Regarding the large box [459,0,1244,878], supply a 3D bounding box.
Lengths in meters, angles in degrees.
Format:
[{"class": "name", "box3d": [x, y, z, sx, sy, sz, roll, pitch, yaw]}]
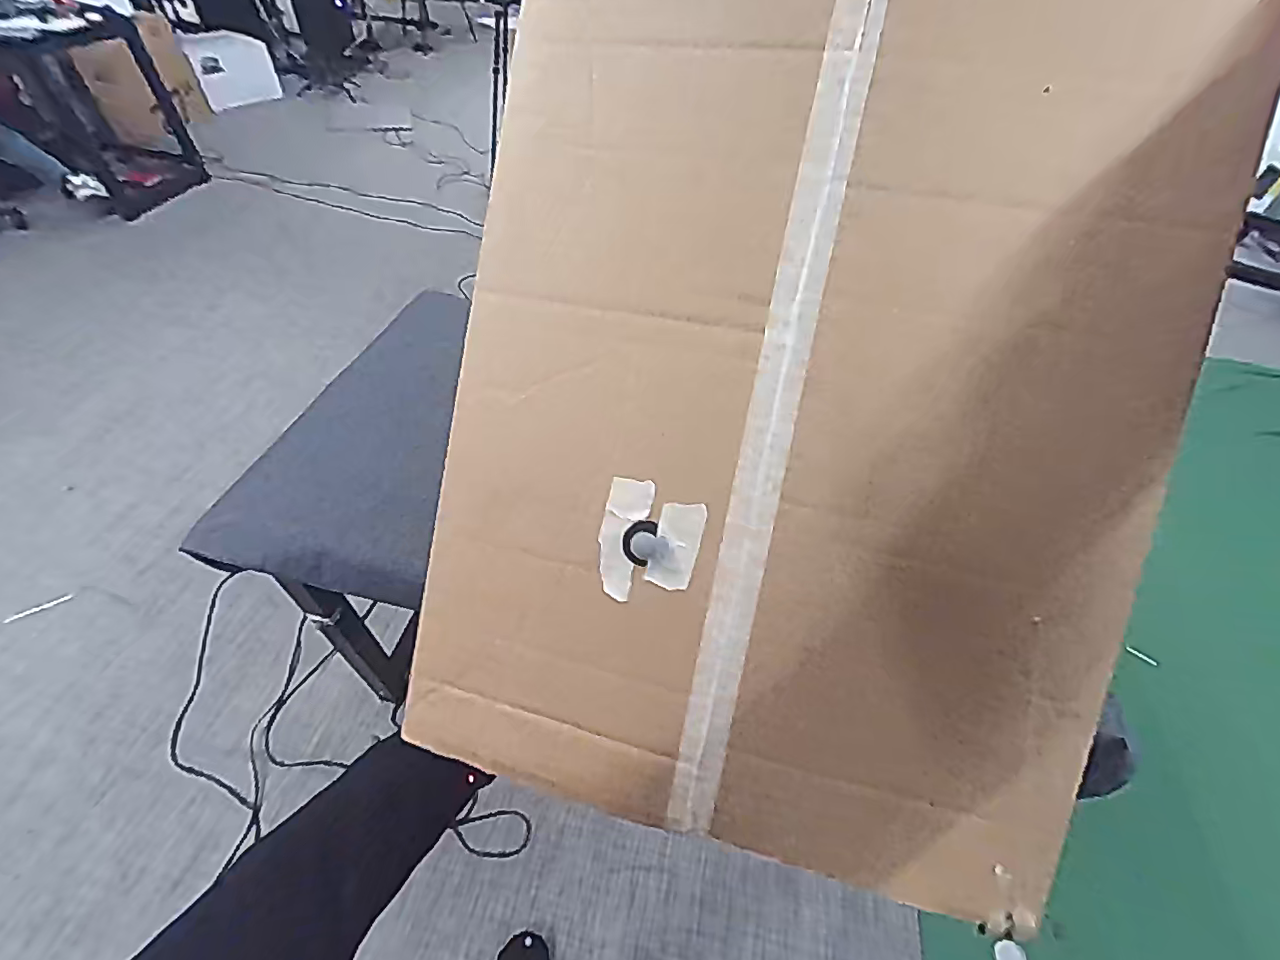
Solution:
[{"class": "large box", "box3d": [0.098, -0.037, 0.412, 0.320, 0.408, 0.320, 11, 6, 10]}]
